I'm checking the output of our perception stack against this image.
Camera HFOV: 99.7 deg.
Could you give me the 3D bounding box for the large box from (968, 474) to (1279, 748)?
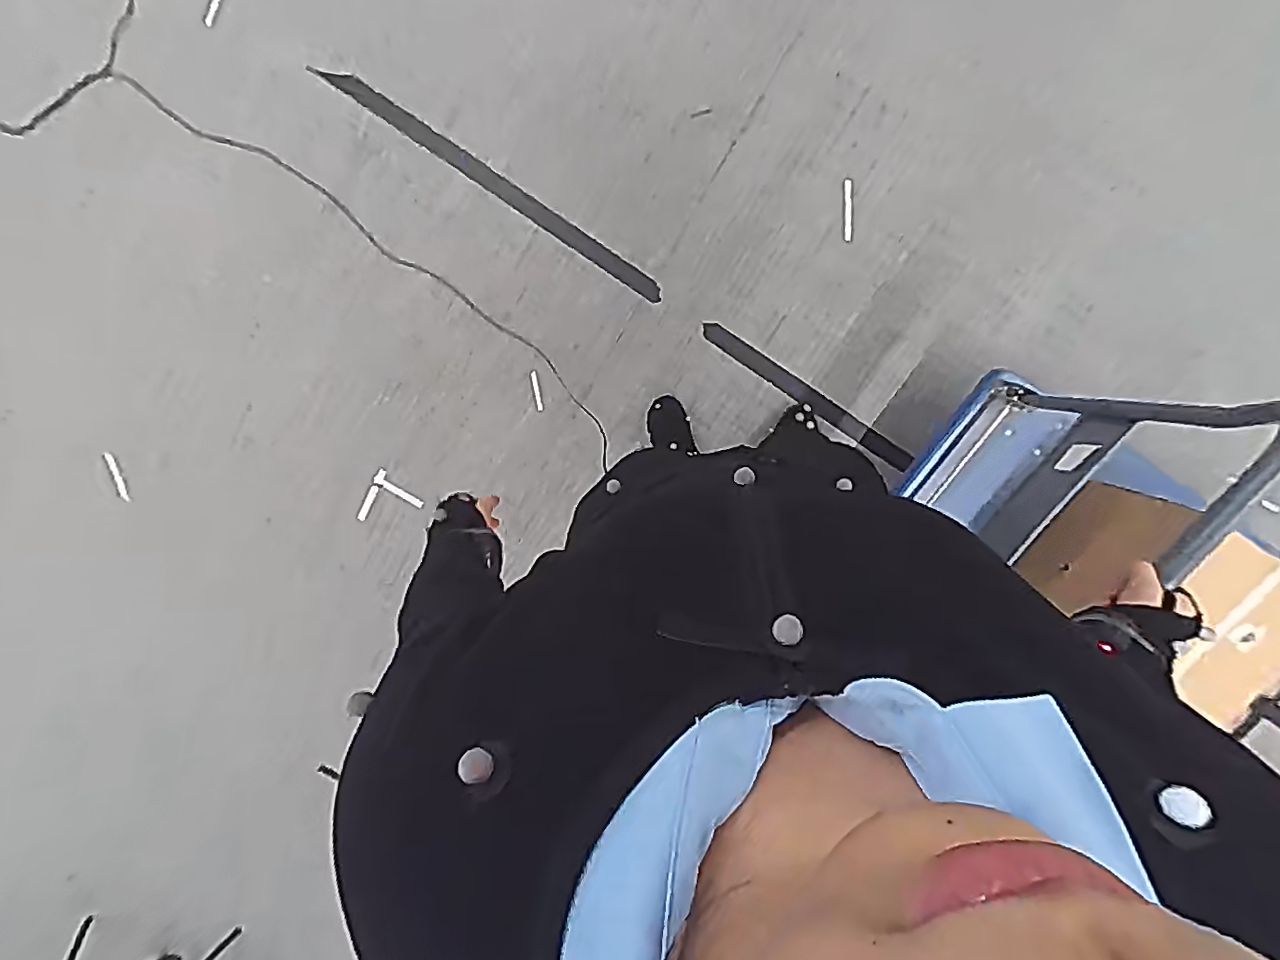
[{"bbox_3d":[1.018,0.253,1.151,0.320,0.320,0.408,34,102,-3],"label":"large box"}]
